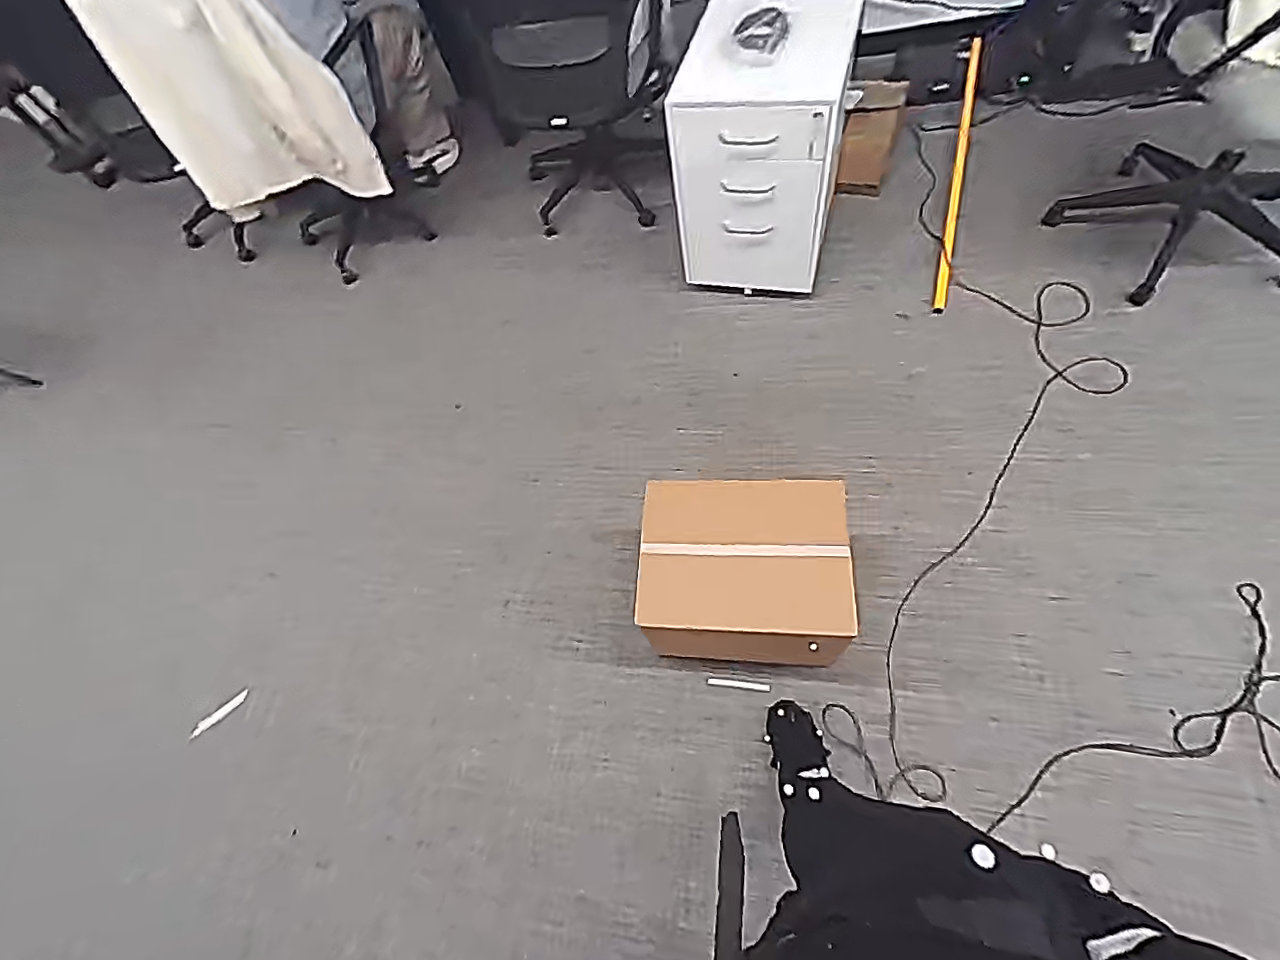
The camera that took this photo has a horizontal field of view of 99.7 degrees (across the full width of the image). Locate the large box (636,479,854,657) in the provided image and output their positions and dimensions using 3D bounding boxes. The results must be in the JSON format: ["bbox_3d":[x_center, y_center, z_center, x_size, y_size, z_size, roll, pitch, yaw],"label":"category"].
[{"bbox_3d":[0.223,0.205,1.191,0.408,0.320,0.320,-1,62,11],"label":"large box"}]
